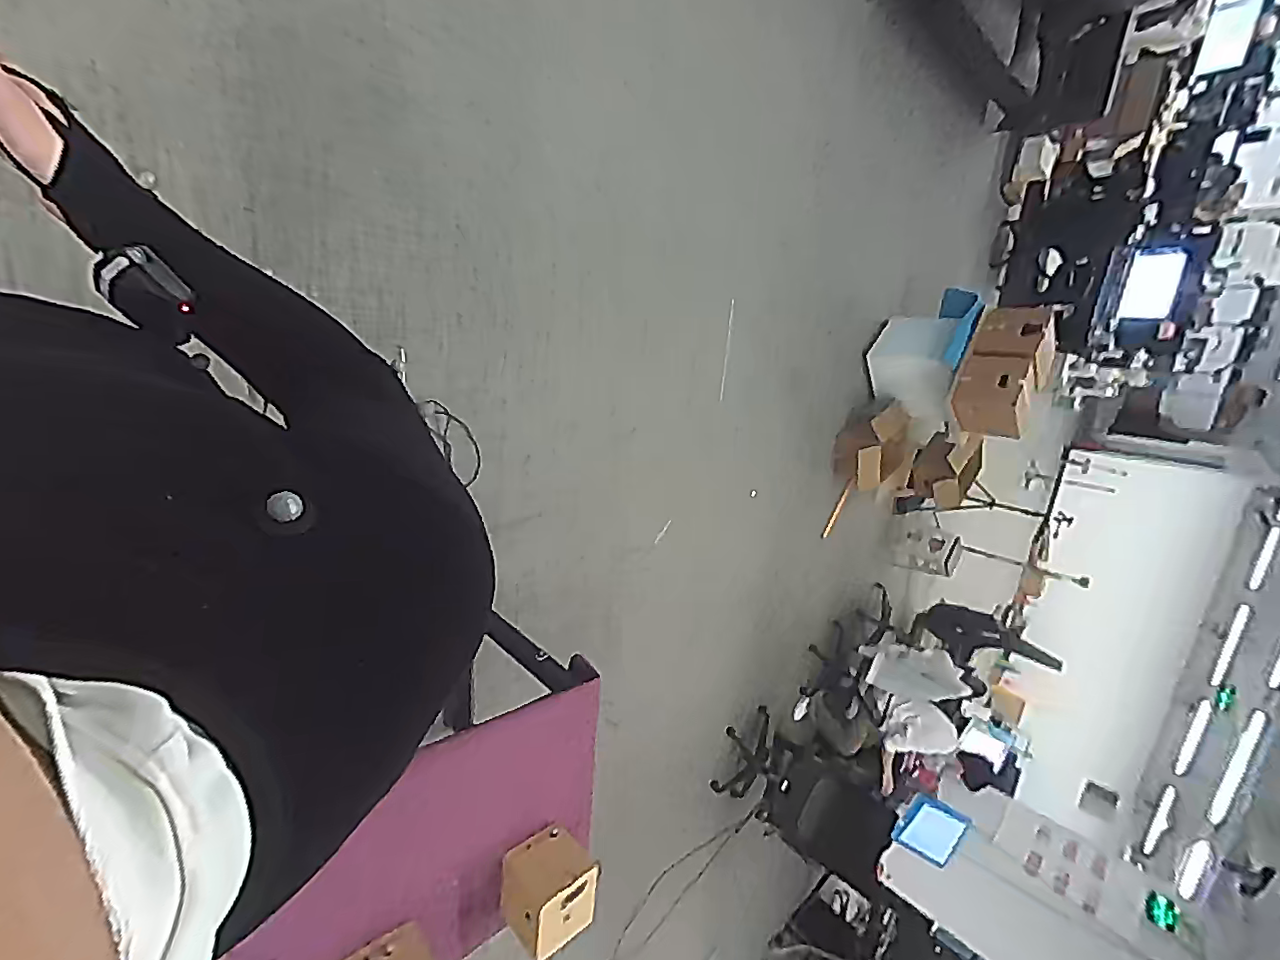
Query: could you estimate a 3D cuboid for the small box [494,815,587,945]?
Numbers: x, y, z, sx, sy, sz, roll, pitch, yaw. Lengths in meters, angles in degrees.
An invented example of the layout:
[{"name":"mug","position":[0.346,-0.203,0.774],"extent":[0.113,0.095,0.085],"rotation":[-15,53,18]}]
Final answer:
[{"name":"small box","position":[-0.255,0.990,1.364],"extent":[0.168,0.176,0.179],"rotation":[-7,109,-44]}]
